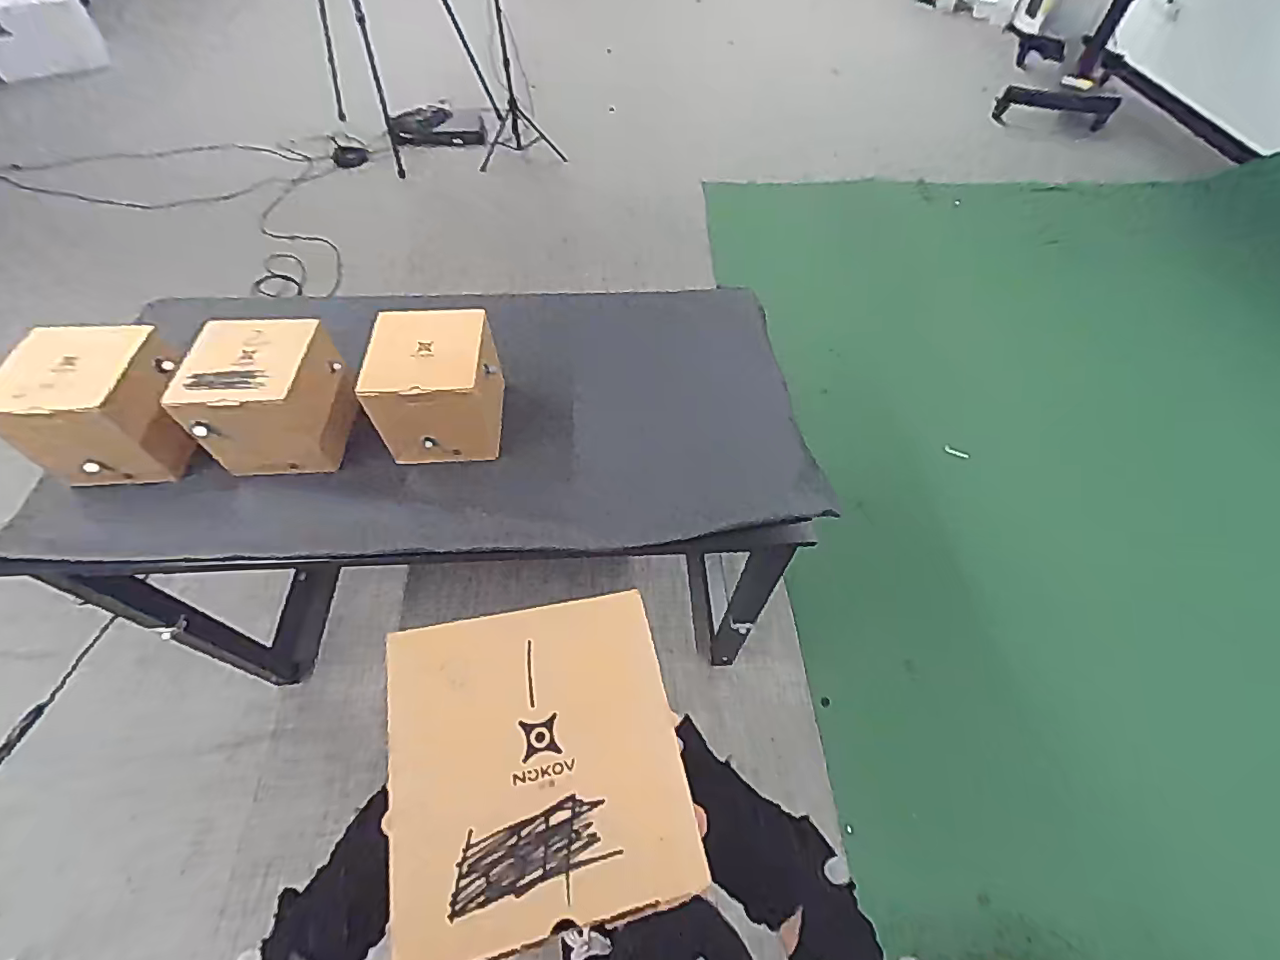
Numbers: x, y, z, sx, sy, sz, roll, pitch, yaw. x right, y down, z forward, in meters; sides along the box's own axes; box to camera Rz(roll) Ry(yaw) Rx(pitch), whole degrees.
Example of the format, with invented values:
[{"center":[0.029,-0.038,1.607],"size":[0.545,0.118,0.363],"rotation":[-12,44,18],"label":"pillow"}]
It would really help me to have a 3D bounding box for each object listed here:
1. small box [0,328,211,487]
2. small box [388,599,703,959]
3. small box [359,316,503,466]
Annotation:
[{"center":[-0.804,-0.108,0.820],"size":[0.168,0.176,0.179],"rotation":[-2,54,-5],"label":"small box"},{"center":[-0.073,0.203,0.383],"size":[0.168,0.176,0.179],"rotation":[-6,61,-16],"label":"small box"},{"center":[-0.320,-0.141,0.868],"size":[0.168,0.176,0.179],"rotation":[-2,56,-4],"label":"small box"}]
